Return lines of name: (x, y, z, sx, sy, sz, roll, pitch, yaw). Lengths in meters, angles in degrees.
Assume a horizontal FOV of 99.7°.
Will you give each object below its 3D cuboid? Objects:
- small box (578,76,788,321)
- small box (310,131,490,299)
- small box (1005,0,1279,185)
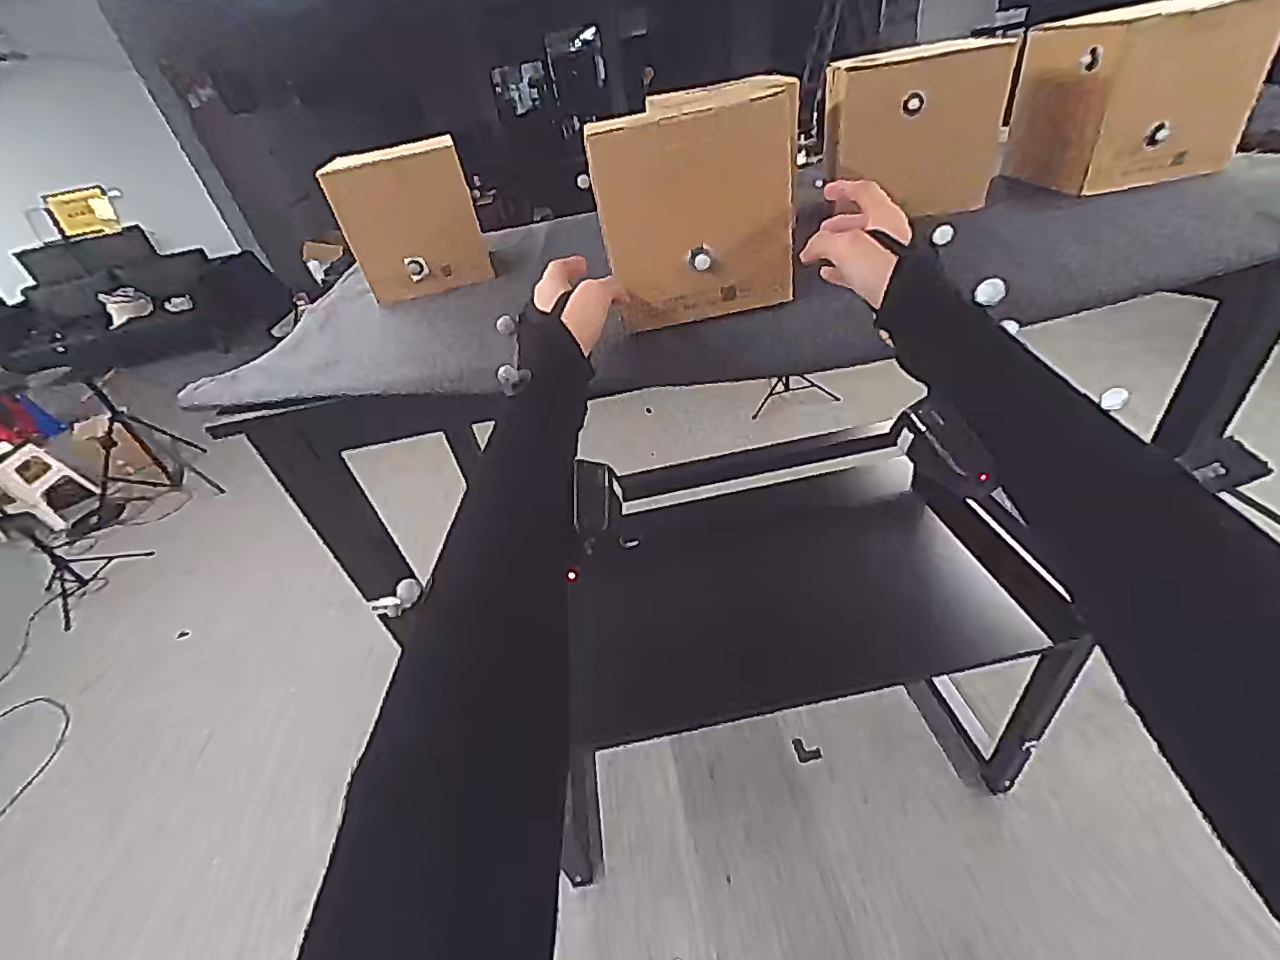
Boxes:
small box: (0.039, -0.273, 0.530, 0.168, 0.176, 0.179, -11, 35, 2)
small box: (-0.320, -0.370, 0.754, 0.168, 0.176, 0.179, -18, 38, -8)
small box: (0.580, -0.466, 0.647, 0.168, 0.176, 0.179, -9, 38, 4)
